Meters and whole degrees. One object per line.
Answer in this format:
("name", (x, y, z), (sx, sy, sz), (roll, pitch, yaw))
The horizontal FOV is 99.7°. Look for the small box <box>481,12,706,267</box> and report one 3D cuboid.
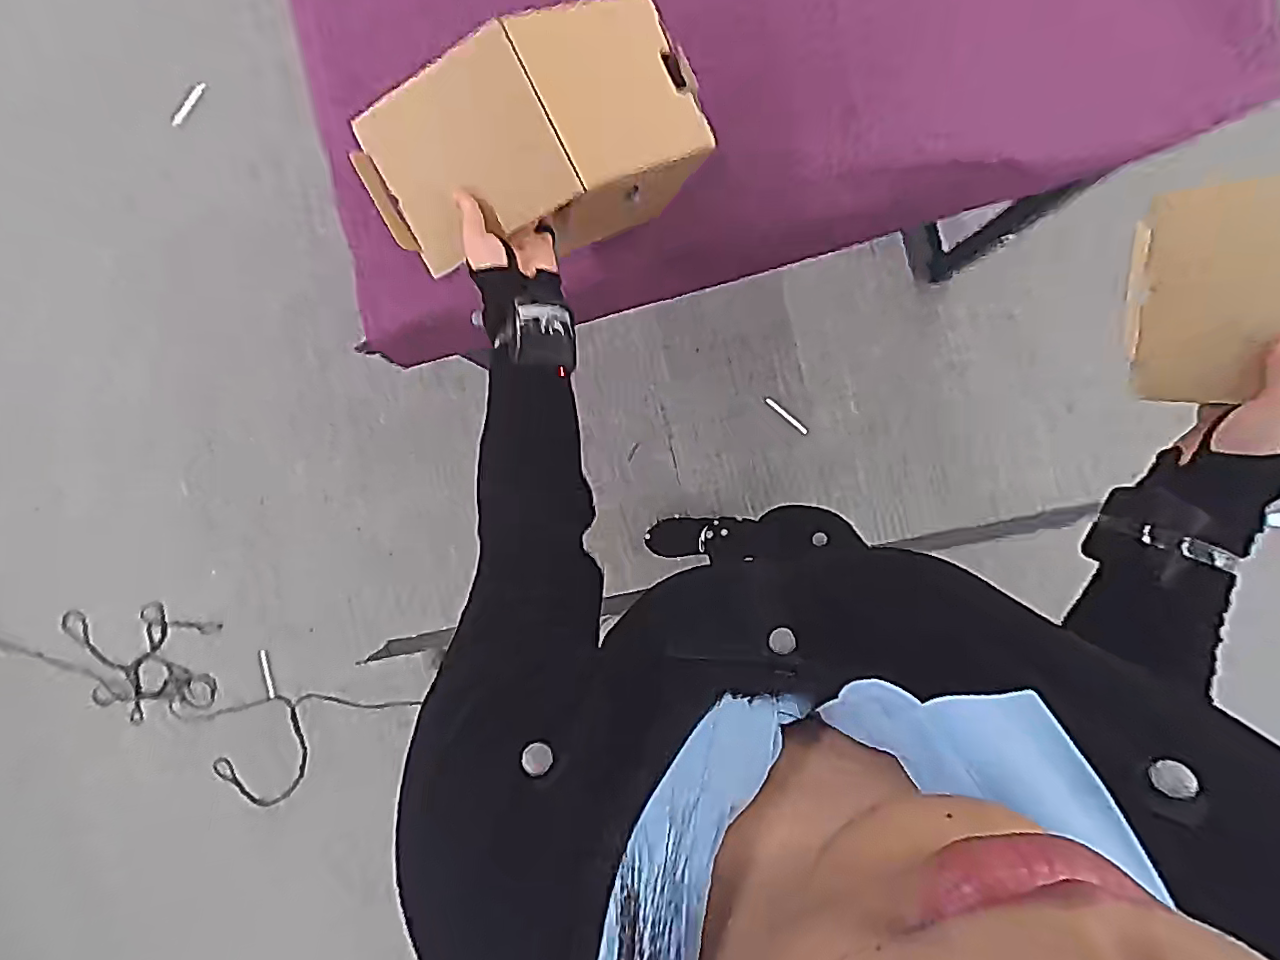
("small box", (-0.064, -0.370, 0.613), (0.179, 0.176, 0.168), (-31, 100, -23))
